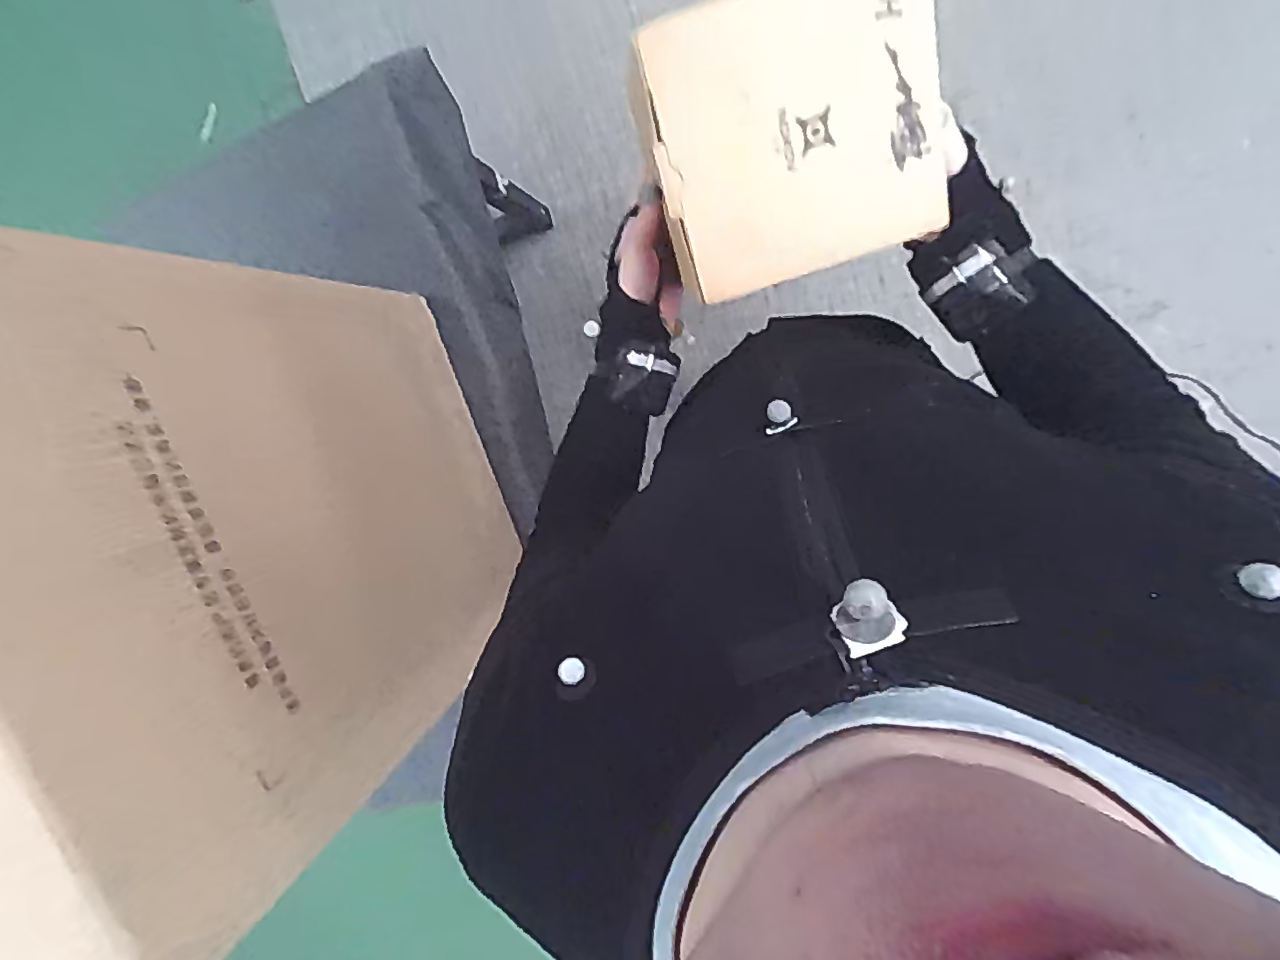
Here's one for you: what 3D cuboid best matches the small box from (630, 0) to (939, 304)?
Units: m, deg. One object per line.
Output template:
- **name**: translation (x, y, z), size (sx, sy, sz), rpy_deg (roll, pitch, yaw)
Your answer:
- **small box**: translation (0.099, -0.250, 0.423), size (0.179, 0.176, 0.168), rpy_deg (-16, 114, 7)
